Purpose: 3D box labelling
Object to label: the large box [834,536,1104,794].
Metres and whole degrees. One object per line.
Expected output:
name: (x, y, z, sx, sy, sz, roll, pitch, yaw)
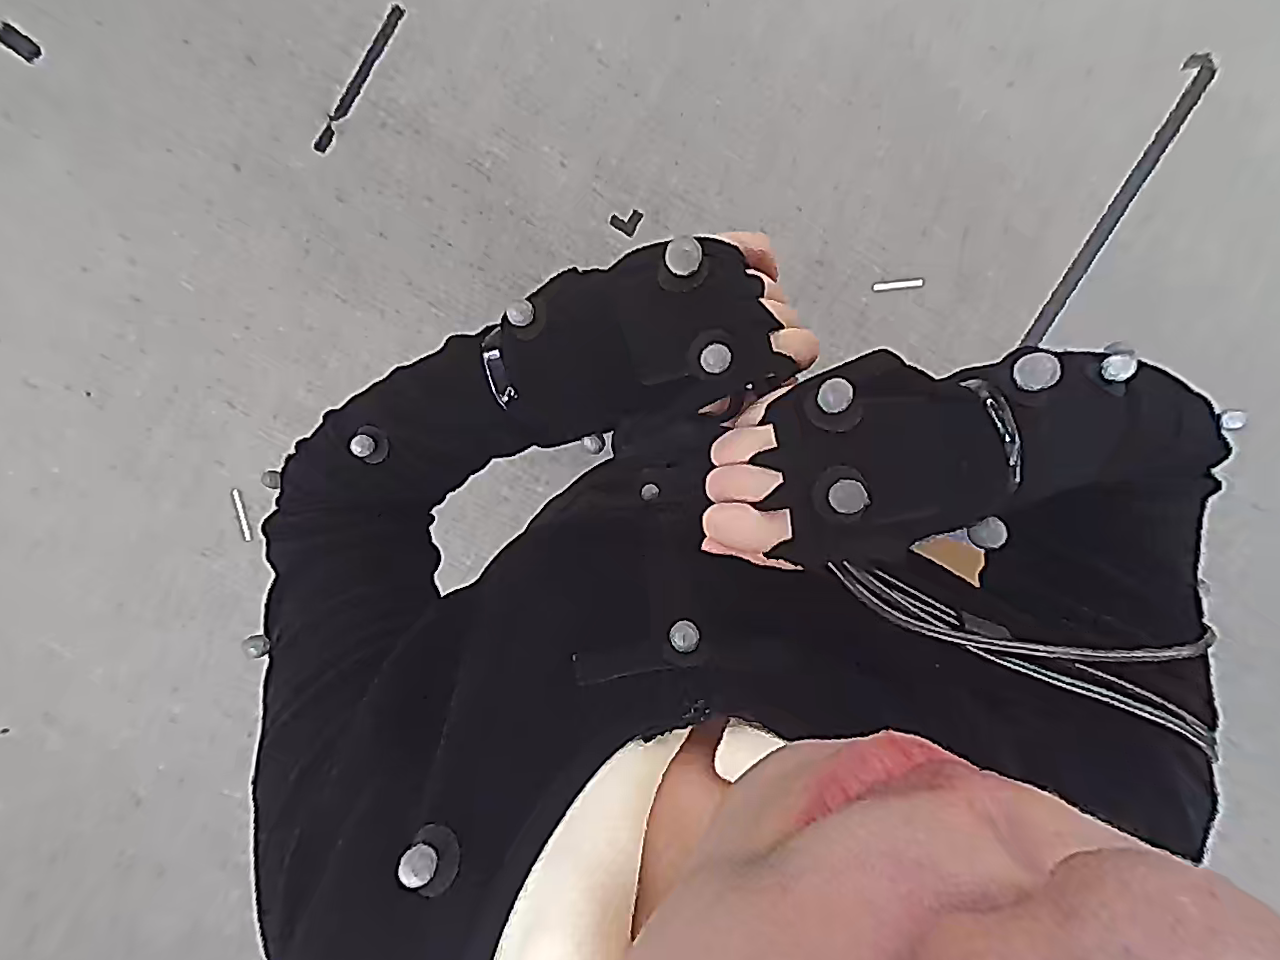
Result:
large box: (0.731, 0.399, 1.254, 0.320, 0.320, 0.408, -32, 98, 0)
